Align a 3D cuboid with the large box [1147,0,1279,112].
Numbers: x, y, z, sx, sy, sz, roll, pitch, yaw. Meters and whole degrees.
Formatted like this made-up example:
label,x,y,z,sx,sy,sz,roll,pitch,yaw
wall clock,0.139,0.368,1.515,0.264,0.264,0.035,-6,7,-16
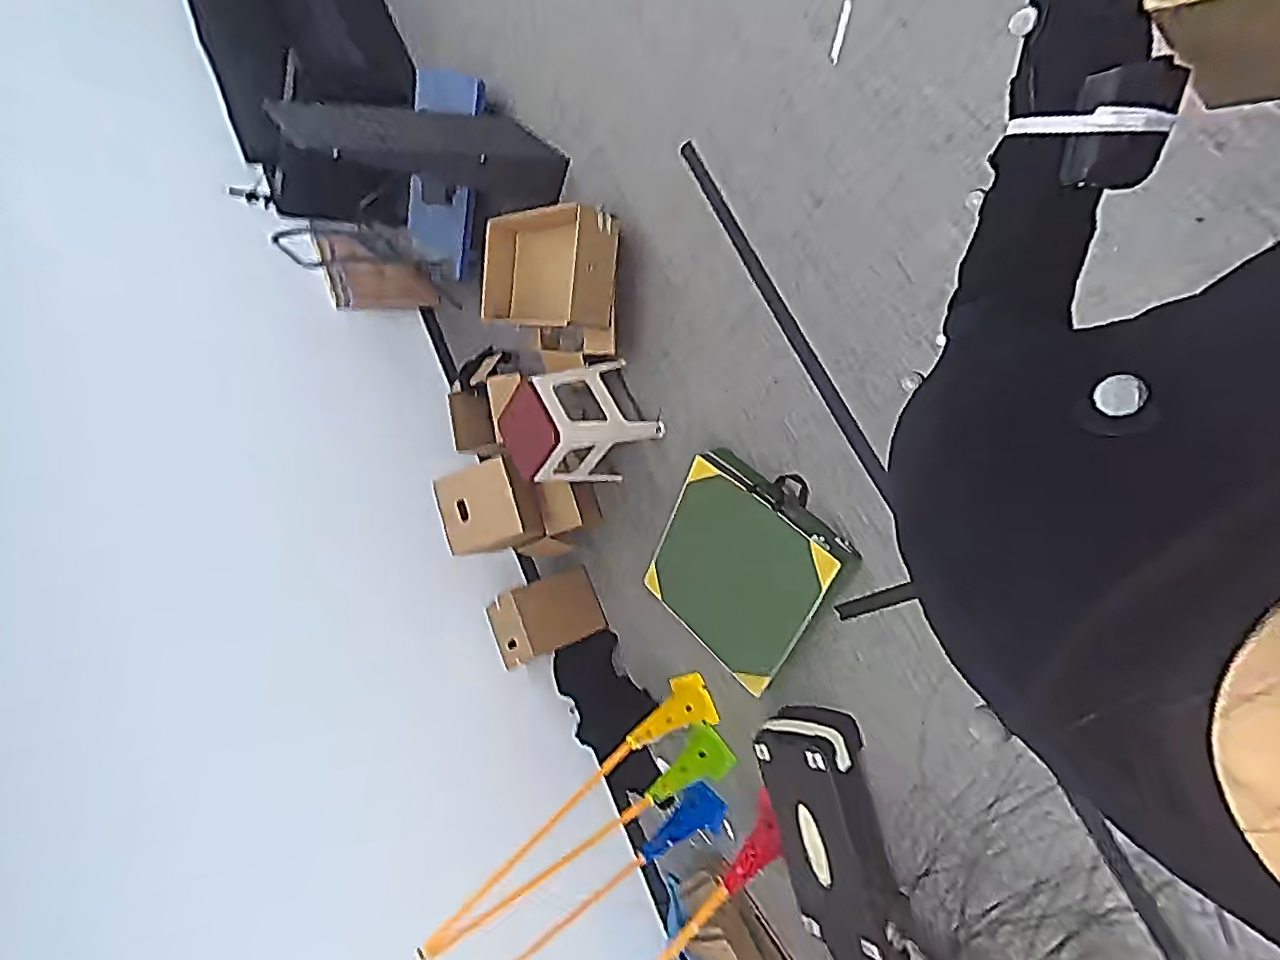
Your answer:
label,x,y,z,sx,sy,sz,roll,pitch,yaw
large box,0.540,-0.405,0.227,0.408,0.320,0.320,21,120,45
